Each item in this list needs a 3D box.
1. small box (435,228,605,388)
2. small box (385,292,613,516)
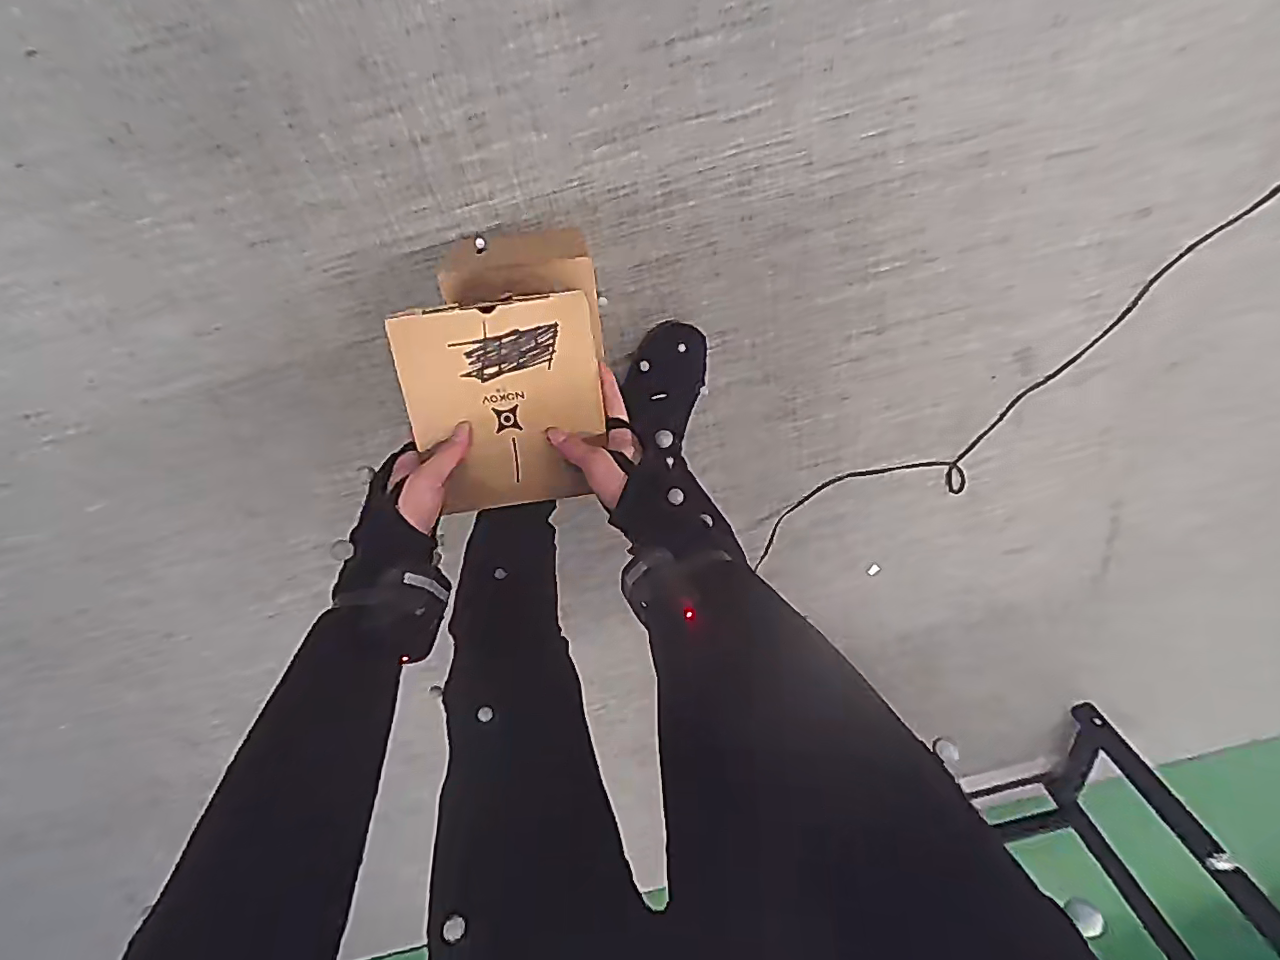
[{"bbox_3d":[-0.146,-0.220,0.711,0.179,0.176,0.168,-9,127,-4],"label":"small box"},{"bbox_3d":[-0.123,-0.084,0.537,0.168,0.176,0.179,-9,109,-3],"label":"small box"}]
